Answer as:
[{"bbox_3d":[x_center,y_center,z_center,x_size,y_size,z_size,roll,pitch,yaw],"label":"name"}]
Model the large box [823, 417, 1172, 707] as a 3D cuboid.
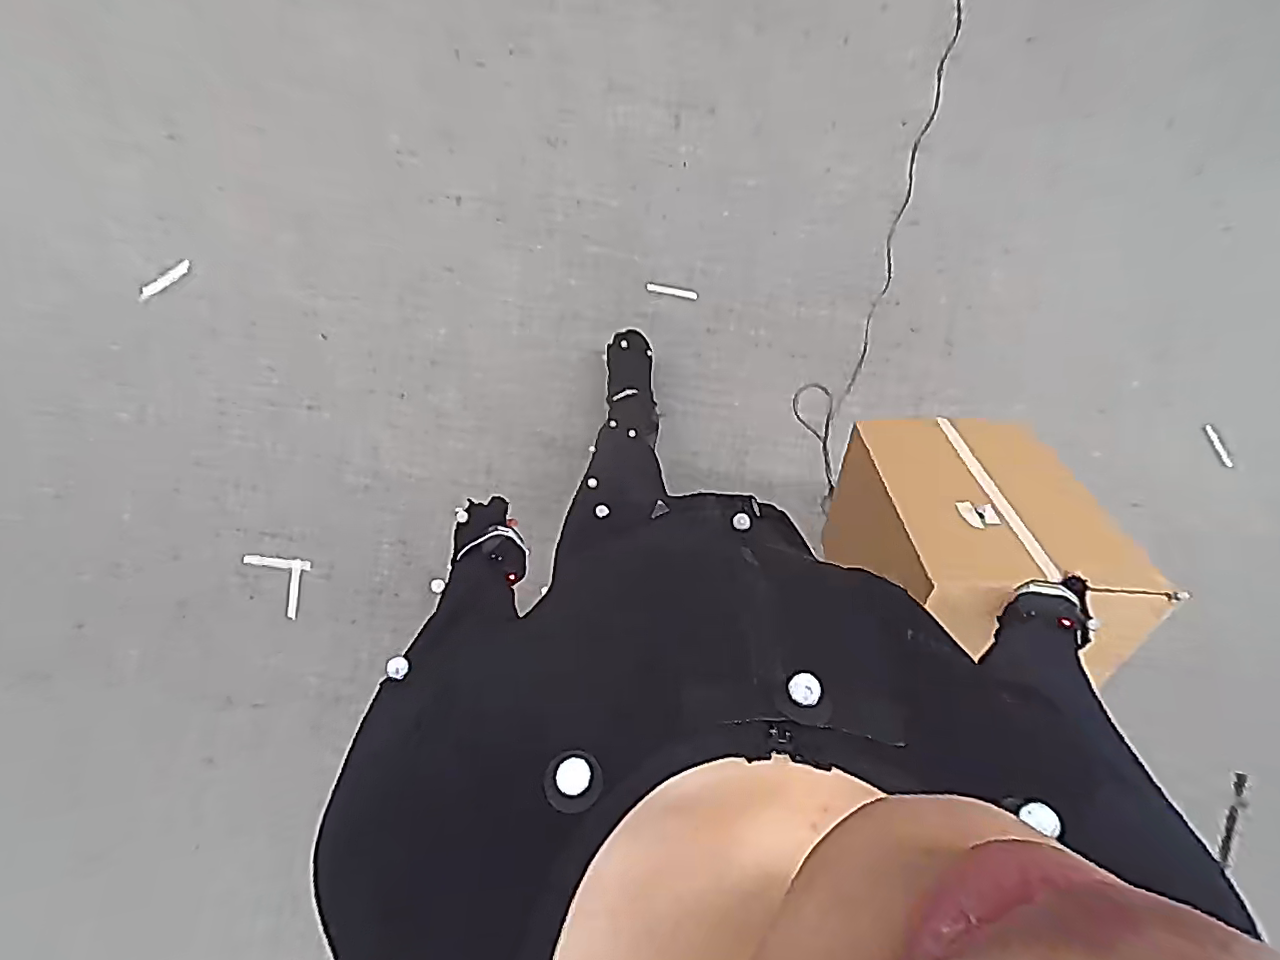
[{"bbox_3d":[0.549,0.130,0.953,0.320,0.408,0.320,1,131,3],"label":"large box"}]
